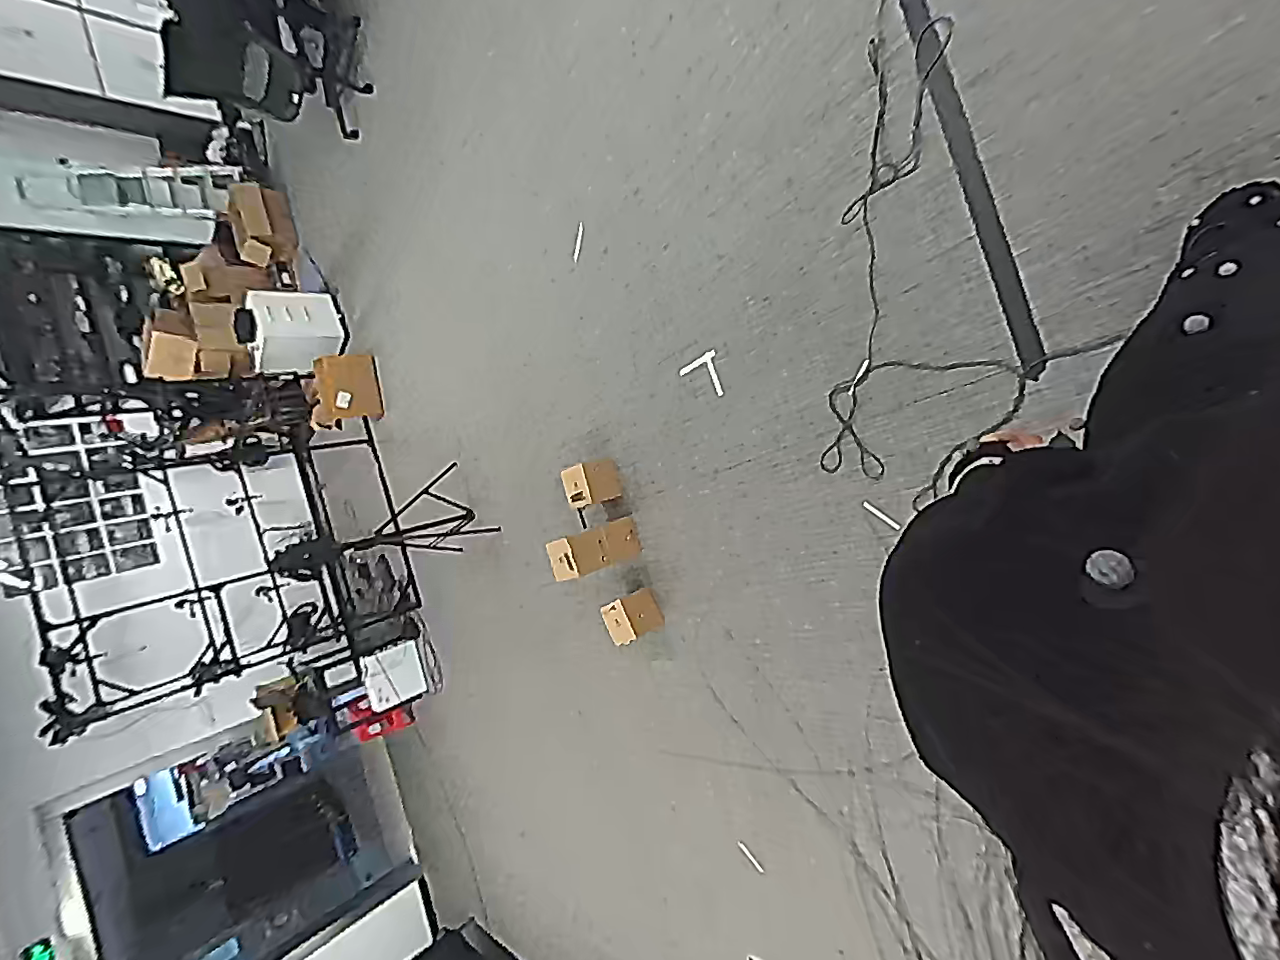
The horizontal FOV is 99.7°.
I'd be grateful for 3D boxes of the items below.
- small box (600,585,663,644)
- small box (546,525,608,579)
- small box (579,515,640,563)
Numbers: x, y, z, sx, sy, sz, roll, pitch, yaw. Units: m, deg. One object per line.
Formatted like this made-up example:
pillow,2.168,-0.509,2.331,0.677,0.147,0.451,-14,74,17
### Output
small box,-0.032,0.571,2.311,0.168,0.176,0.179,-38,75,45
small box,-0.251,0.293,2.215,0.179,0.176,0.168,-21,85,48
small box,-0.129,0.256,2.319,0.179,0.176,0.168,-16,90,47
